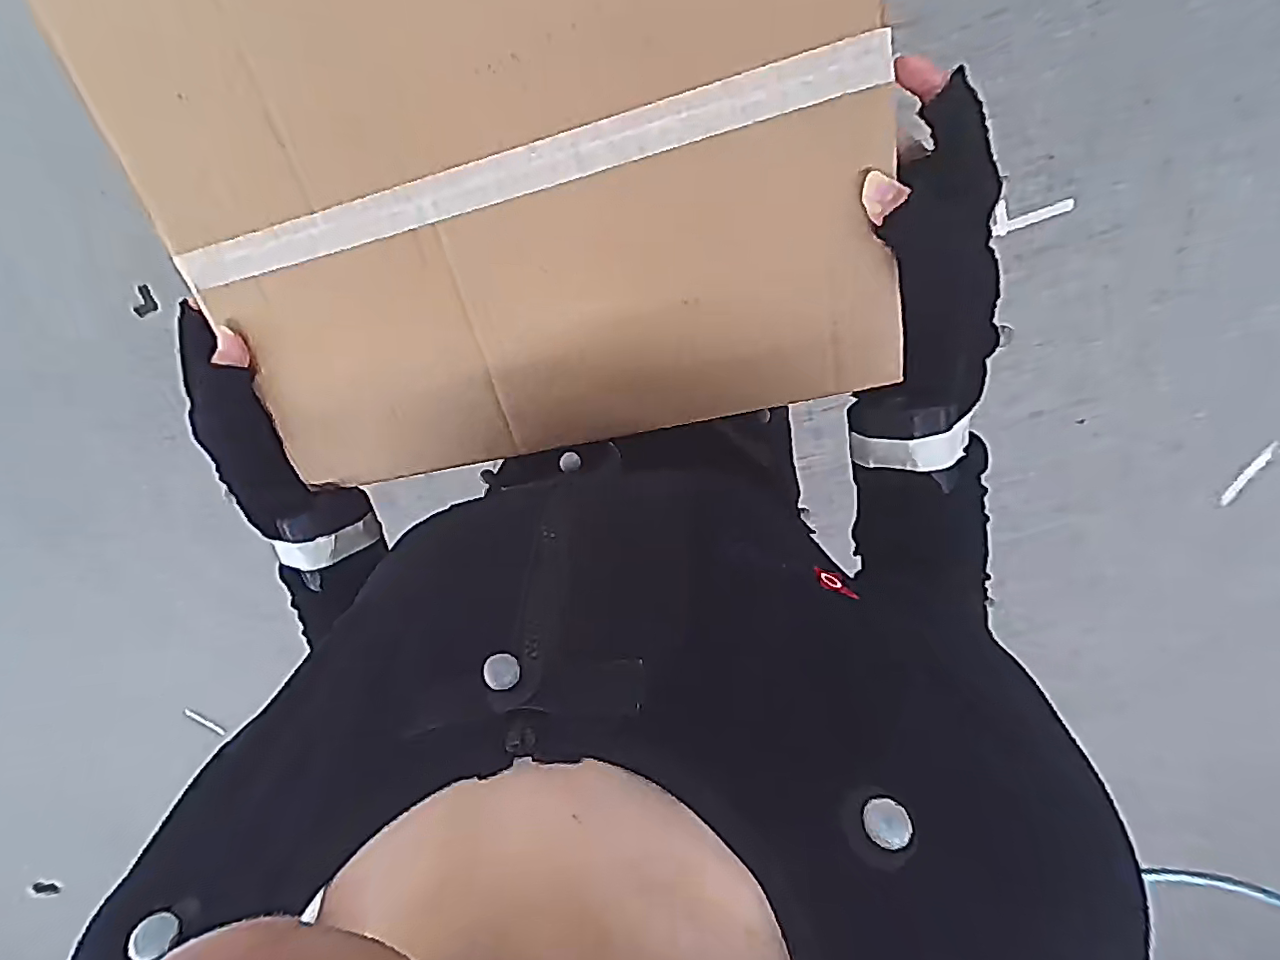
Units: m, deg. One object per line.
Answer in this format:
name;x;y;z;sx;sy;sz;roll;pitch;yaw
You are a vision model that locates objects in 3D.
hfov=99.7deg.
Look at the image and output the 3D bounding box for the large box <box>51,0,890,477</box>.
large box;-0.063;-0.238;0.424;0.408;0.320;0.320;-10;116;12
